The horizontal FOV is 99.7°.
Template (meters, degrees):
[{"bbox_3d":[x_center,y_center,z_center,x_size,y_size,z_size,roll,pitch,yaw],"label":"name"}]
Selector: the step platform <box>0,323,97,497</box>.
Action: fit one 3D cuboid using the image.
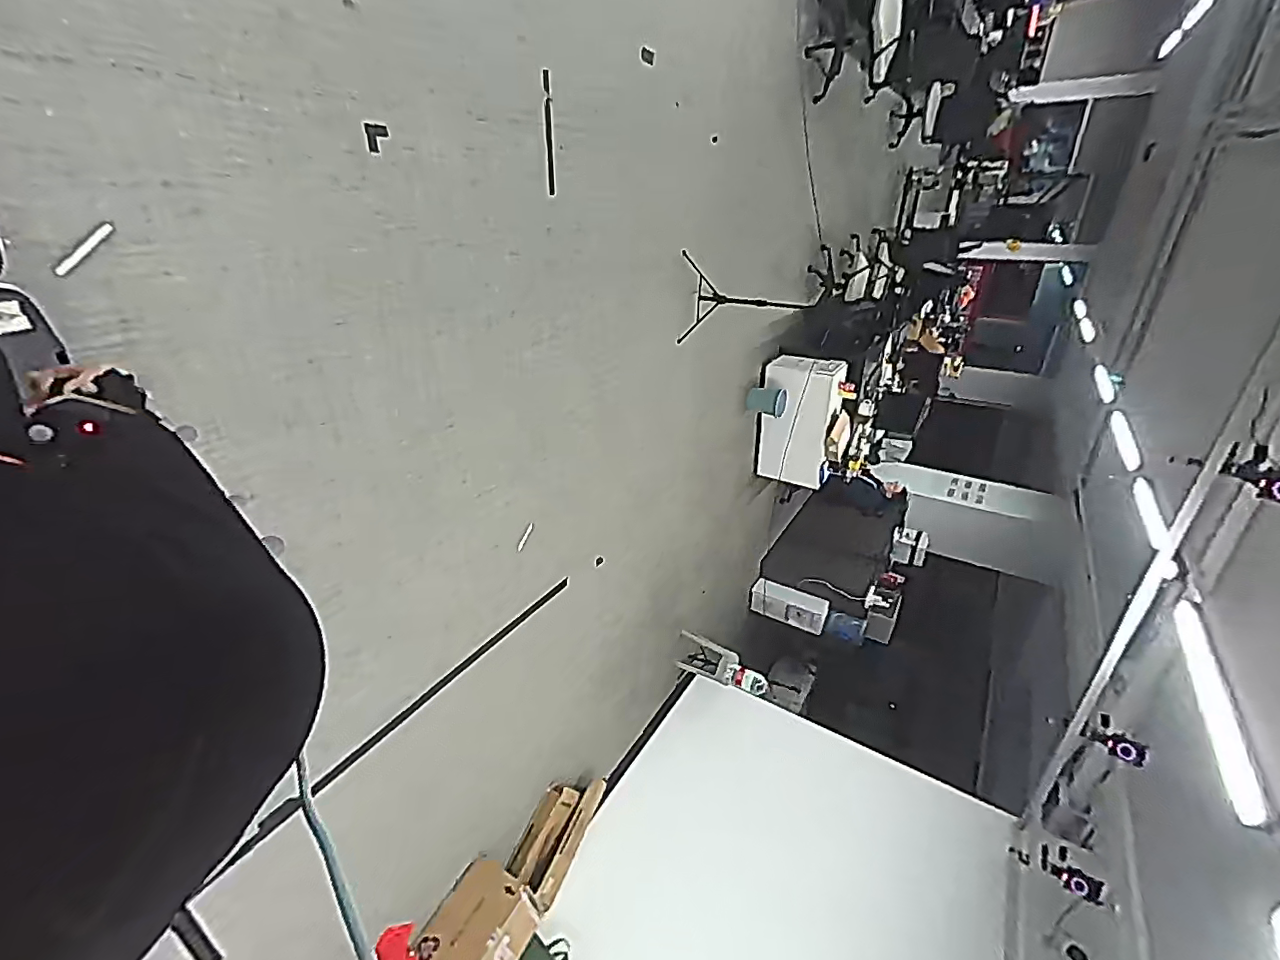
[{"bbox_3d":[-1.291,-0.058,0.800,0.684,0.204,0.286,-28,125,-50],"label":"step platform"}]
